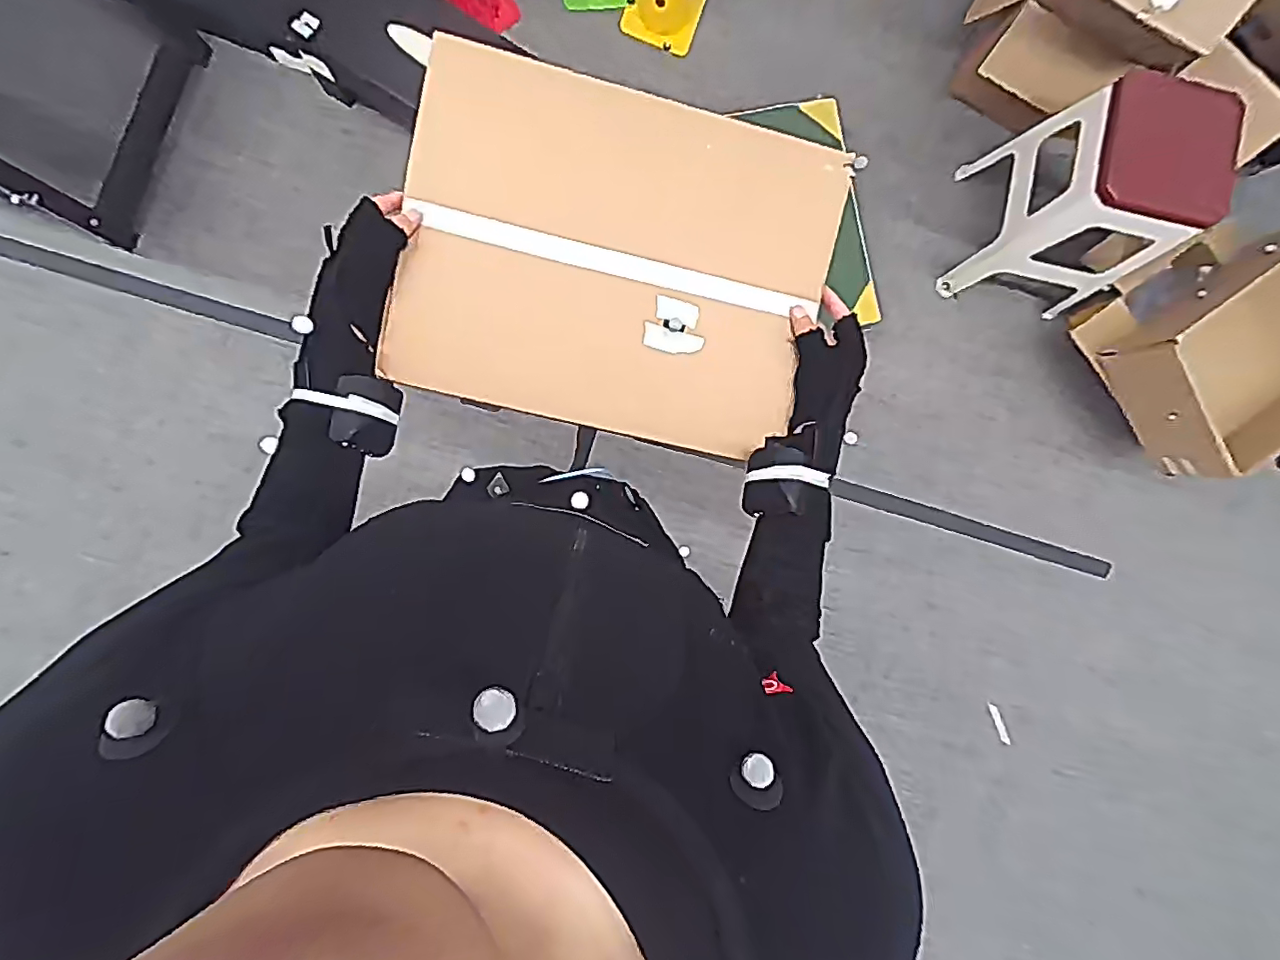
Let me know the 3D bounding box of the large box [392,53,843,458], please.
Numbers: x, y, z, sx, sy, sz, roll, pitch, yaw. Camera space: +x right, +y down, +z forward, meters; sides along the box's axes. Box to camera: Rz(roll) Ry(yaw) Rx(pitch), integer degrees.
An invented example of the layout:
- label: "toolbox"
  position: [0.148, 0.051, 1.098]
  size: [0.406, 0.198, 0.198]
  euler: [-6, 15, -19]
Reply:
- label: "large box"
  position: [-0.035, -0.223, 0.678]
  size: [0.408, 0.320, 0.320]
  euler: [12, 96, -7]
